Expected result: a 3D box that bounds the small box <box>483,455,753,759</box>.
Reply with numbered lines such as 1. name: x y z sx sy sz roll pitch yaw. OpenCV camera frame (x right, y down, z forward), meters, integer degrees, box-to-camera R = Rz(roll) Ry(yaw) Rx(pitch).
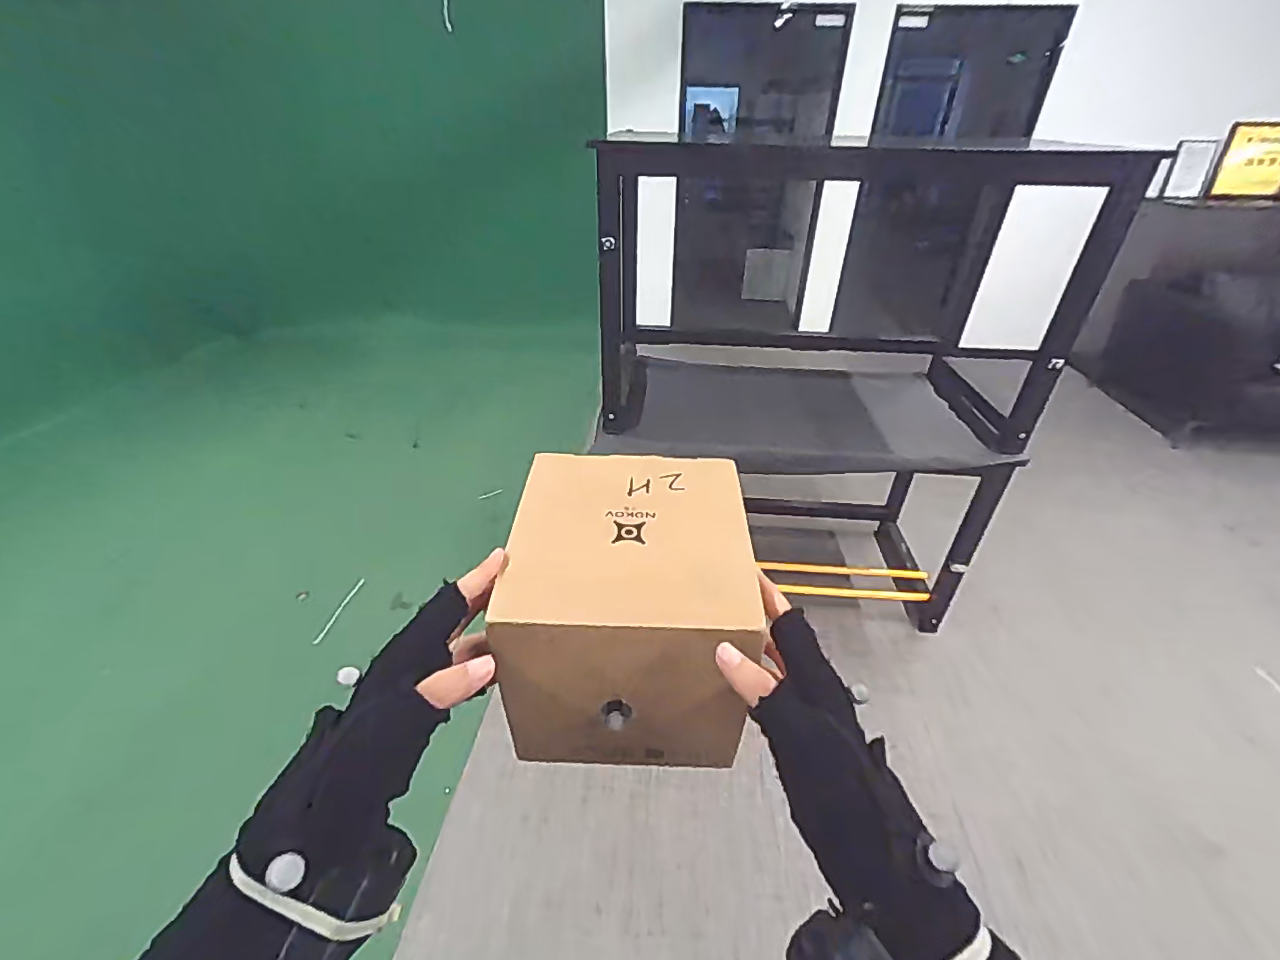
1. small box: -0.011 0.098 0.432 0.168 0.176 0.179 2 36 1
